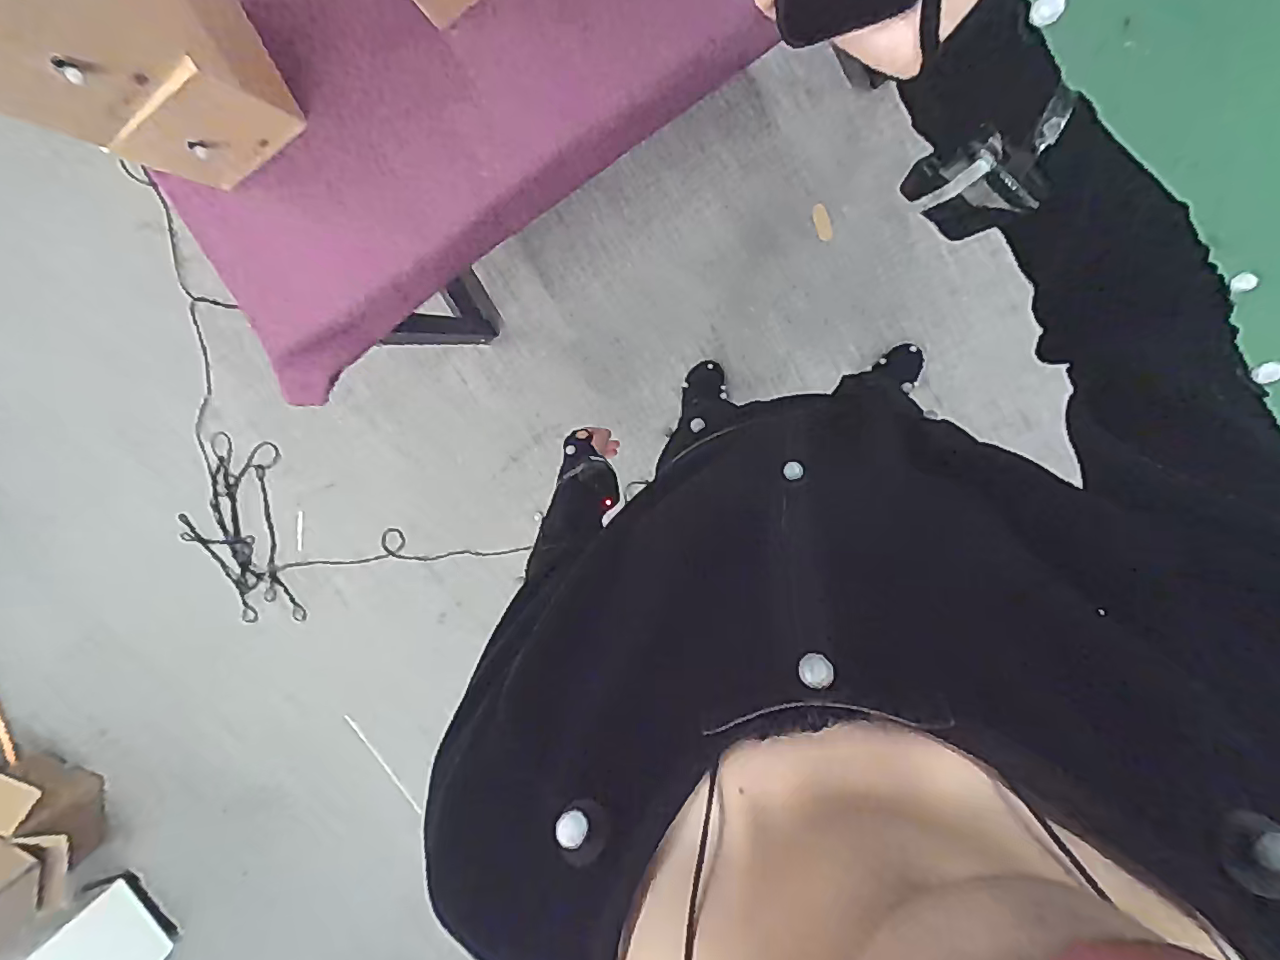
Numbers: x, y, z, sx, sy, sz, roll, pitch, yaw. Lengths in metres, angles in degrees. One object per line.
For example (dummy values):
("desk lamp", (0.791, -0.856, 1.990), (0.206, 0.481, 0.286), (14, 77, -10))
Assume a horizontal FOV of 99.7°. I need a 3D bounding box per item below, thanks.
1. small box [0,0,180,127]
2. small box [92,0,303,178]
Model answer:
("small box", (-0.606, -0.477, 0.513), (0.168, 0.176, 0.179), (-31, 97, 15))
("small box", (-0.572, -0.508, 0.671), (0.168, 0.176, 0.179), (-26, 97, 15))
